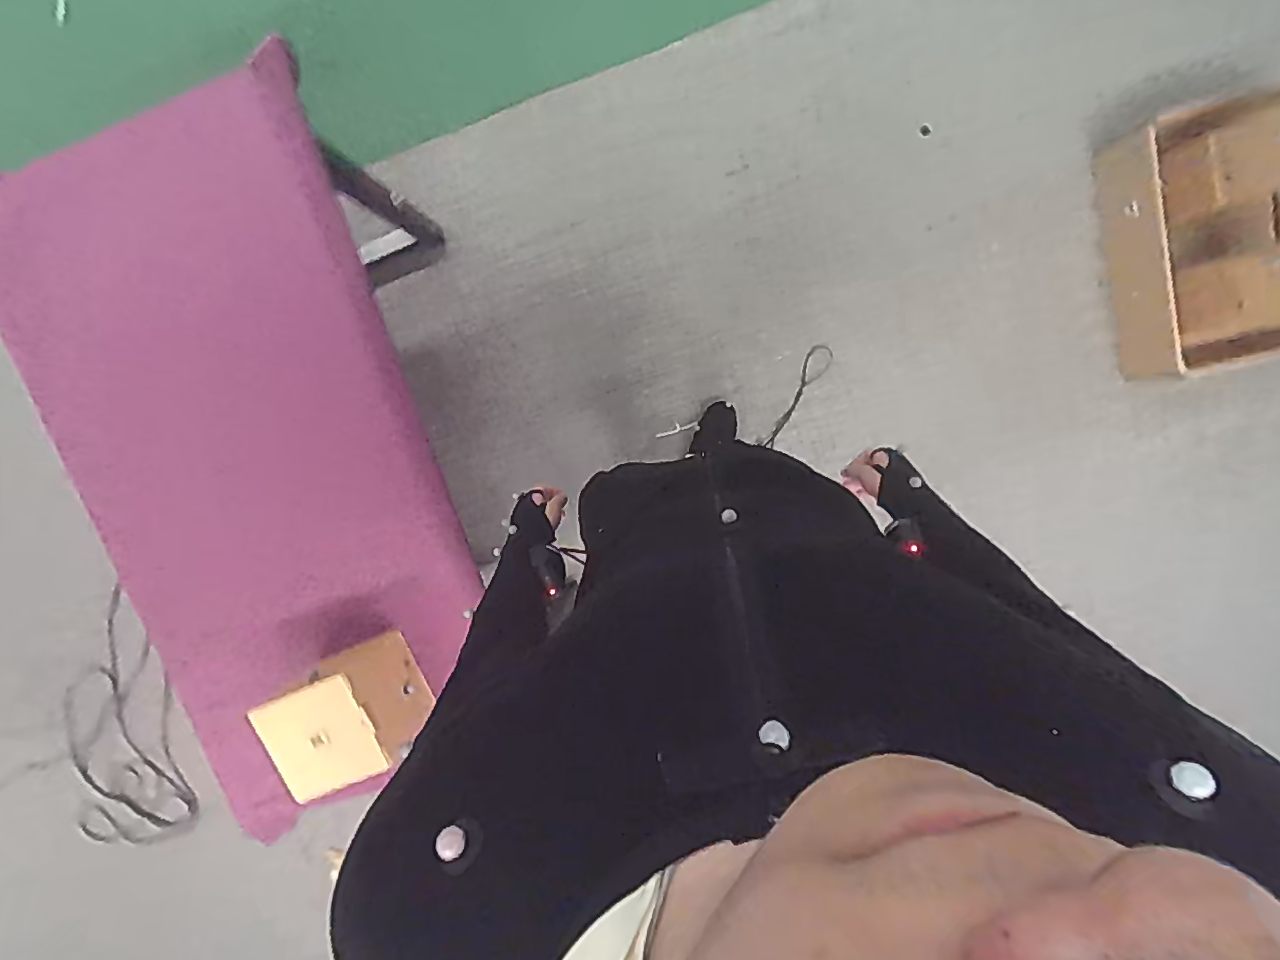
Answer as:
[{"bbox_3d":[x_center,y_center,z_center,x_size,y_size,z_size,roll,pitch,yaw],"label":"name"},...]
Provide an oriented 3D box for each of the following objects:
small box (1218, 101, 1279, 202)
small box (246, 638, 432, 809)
[{"bbox_3d":[1.387,-0.715,1.128,0.179,0.176,0.168,-16,95,4],"label":"small box"},{"bbox_3d":[-0.483,0.391,0.894,0.179,0.176,0.168,-24,95,6],"label":"small box"}]
